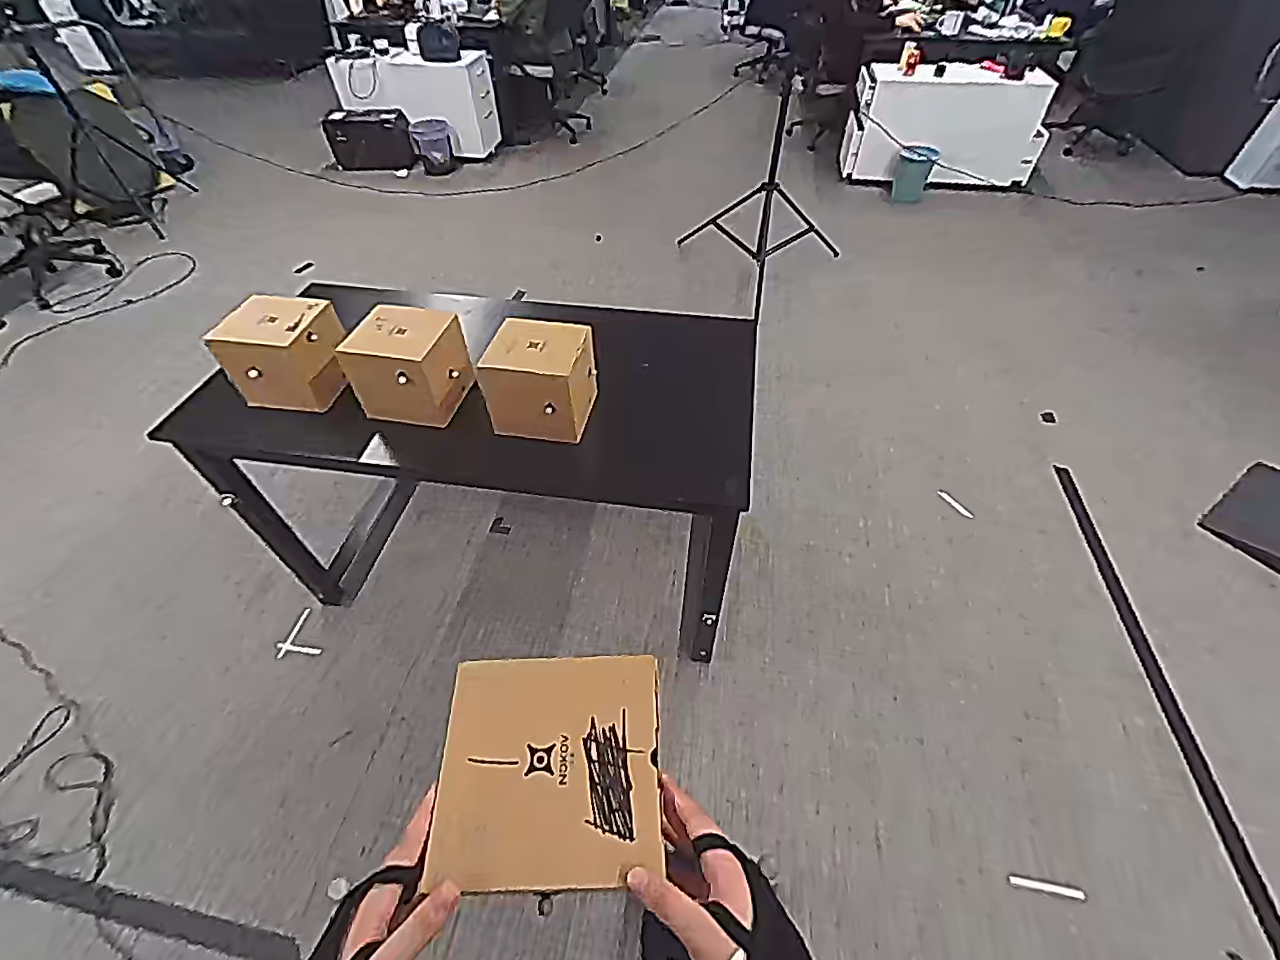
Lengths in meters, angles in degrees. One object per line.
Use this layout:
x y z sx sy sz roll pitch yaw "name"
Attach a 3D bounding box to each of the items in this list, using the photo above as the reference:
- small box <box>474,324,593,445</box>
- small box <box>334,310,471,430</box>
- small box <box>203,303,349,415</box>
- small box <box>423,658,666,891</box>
-0.197 -0.185 1.067 0.179 0.176 0.168 6 48 8 "small box"
-0.467 -0.221 1.099 0.179 0.176 0.168 7 49 8 "small box"
-0.737 -0.251 1.131 0.179 0.176 0.168 5 49 5 "small box"
-0.069 0.273 0.497 0.179 0.176 0.168 -2 52 0 "small box"
